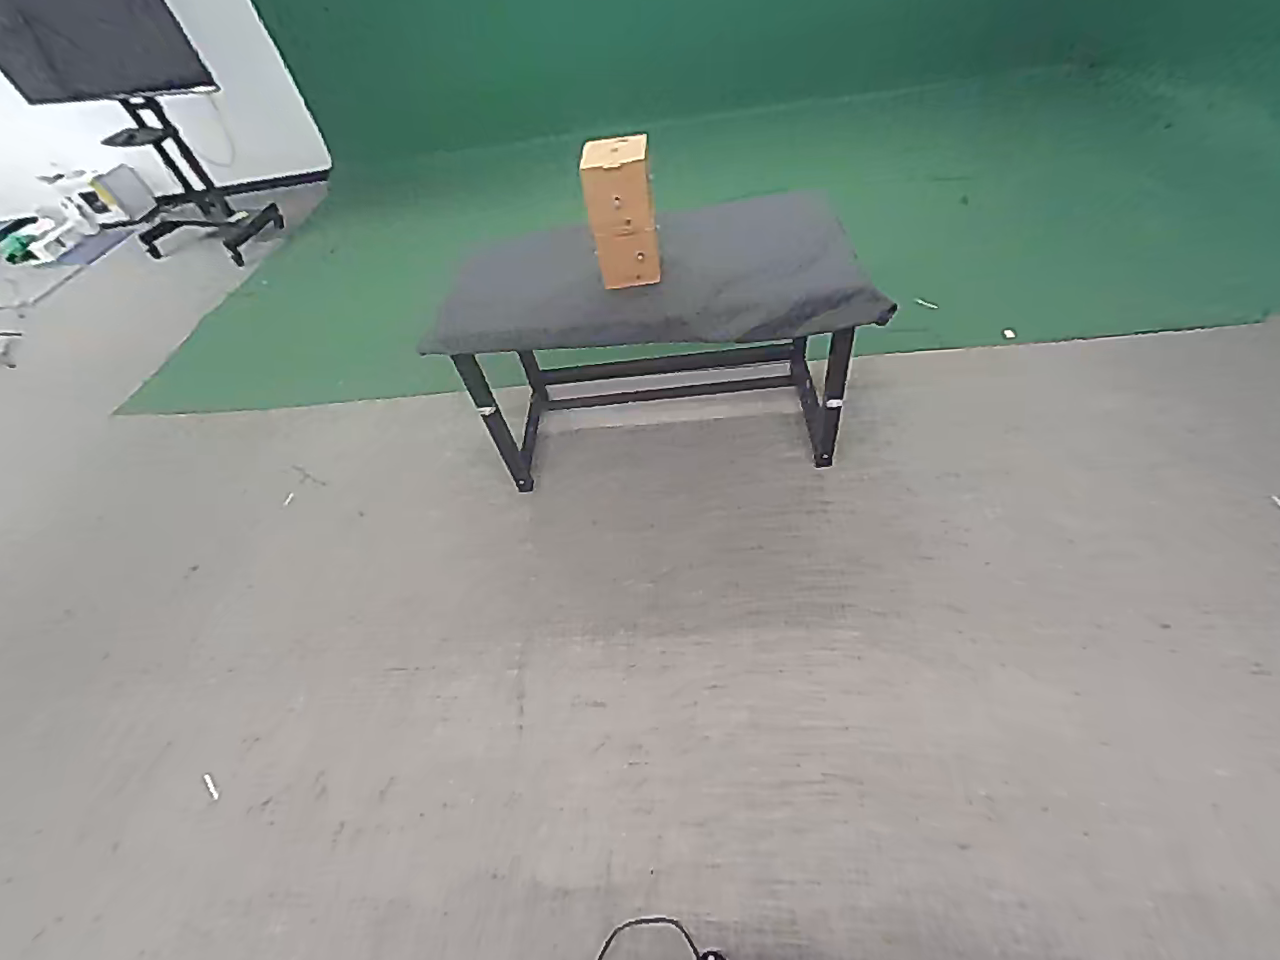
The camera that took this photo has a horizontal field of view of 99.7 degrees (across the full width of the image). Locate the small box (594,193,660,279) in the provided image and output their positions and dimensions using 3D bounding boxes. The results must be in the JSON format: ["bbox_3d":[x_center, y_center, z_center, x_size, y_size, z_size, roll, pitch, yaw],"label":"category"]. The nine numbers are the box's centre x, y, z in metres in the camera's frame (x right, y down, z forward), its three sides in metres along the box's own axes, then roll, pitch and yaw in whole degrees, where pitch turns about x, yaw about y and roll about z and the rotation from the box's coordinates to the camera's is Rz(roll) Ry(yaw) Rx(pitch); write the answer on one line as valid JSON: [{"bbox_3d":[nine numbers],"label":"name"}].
[{"bbox_3d":[-0.032,-0.697,1.562,0.168,0.176,0.179,-4,50,5],"label":"small box"}]

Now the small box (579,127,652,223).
[{"bbox_3d":[-0.057,-0.804,1.439,0.168,0.176,0.179,-3,52,6],"label":"small box"}]
